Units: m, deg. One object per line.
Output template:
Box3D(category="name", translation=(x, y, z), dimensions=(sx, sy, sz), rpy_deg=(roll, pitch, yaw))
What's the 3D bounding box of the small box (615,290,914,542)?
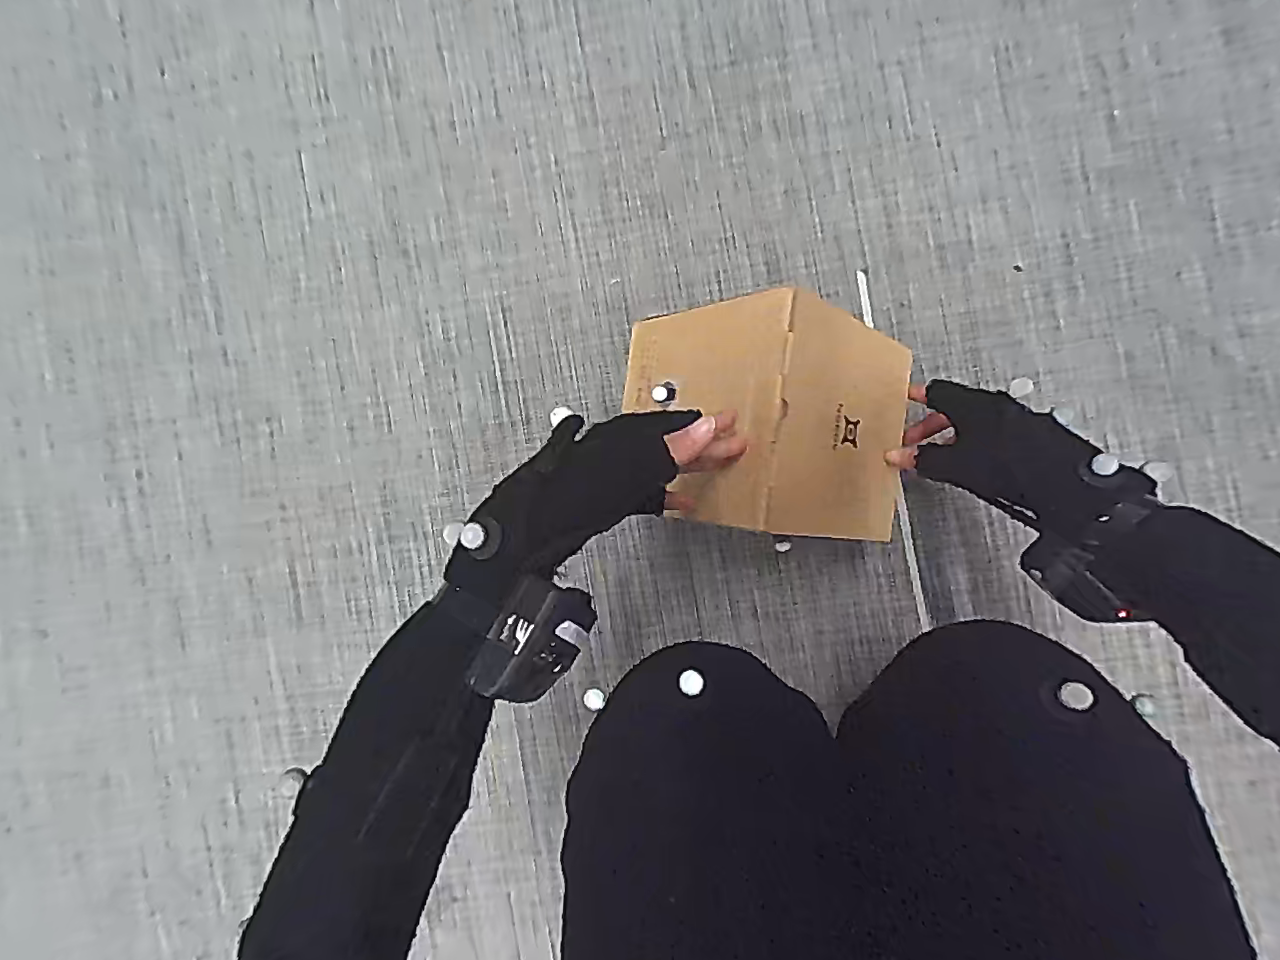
Box3D(category="small box", translation=(0.105, -0.044, 0.465), dimensions=(0.176, 0.179, 0.168), rpy_deg=(7, 90, 49))
